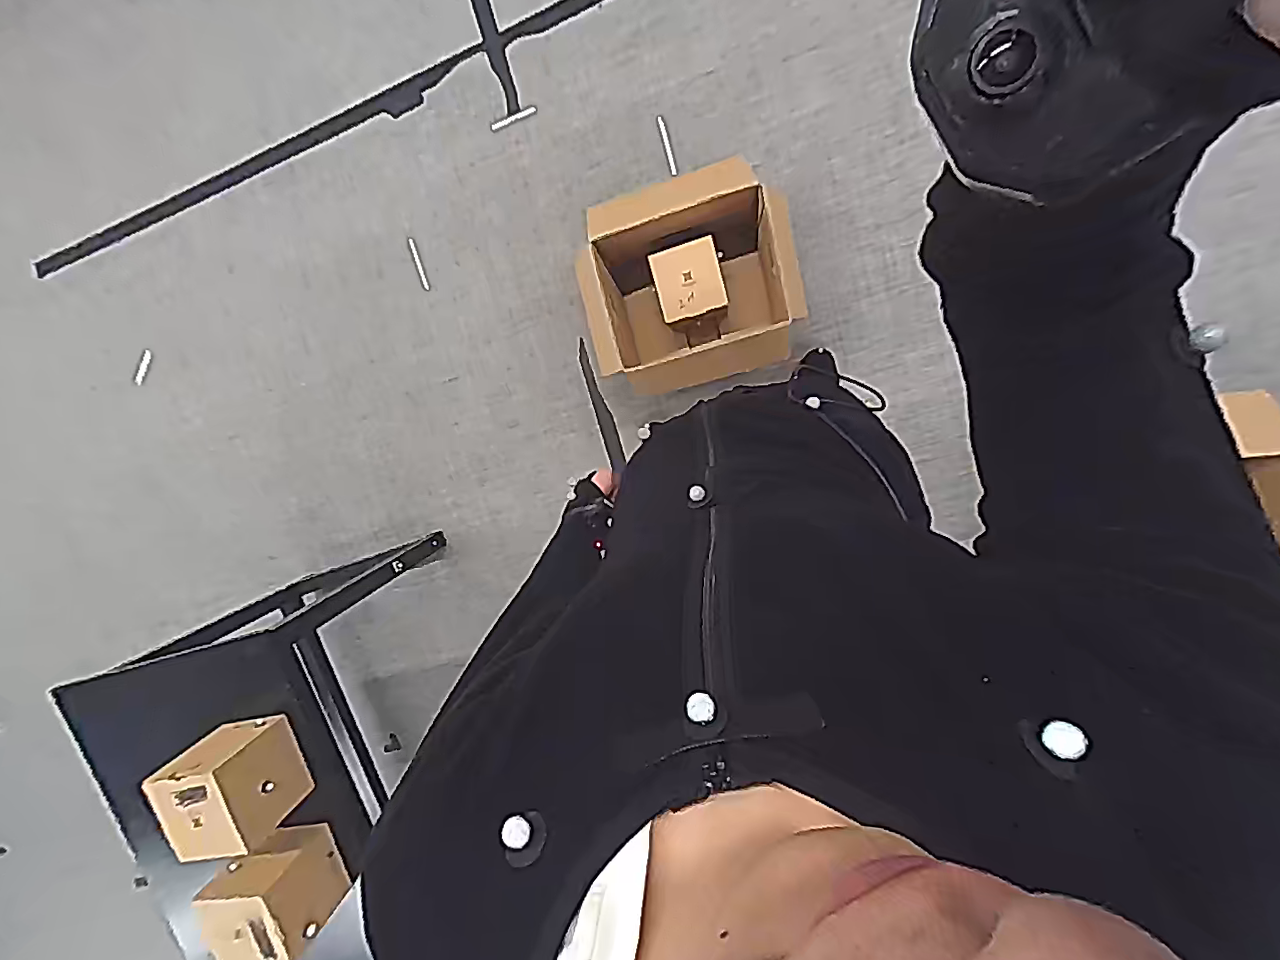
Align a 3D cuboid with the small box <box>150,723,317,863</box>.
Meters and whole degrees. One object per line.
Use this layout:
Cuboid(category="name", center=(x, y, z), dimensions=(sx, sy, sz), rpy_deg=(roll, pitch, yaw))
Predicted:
Cuboid(category="small box", center=(-0.785, 0.601, 1.062), dimensions=(0.168, 0.176, 0.179), rpy_deg=(-14, 100, 12))
